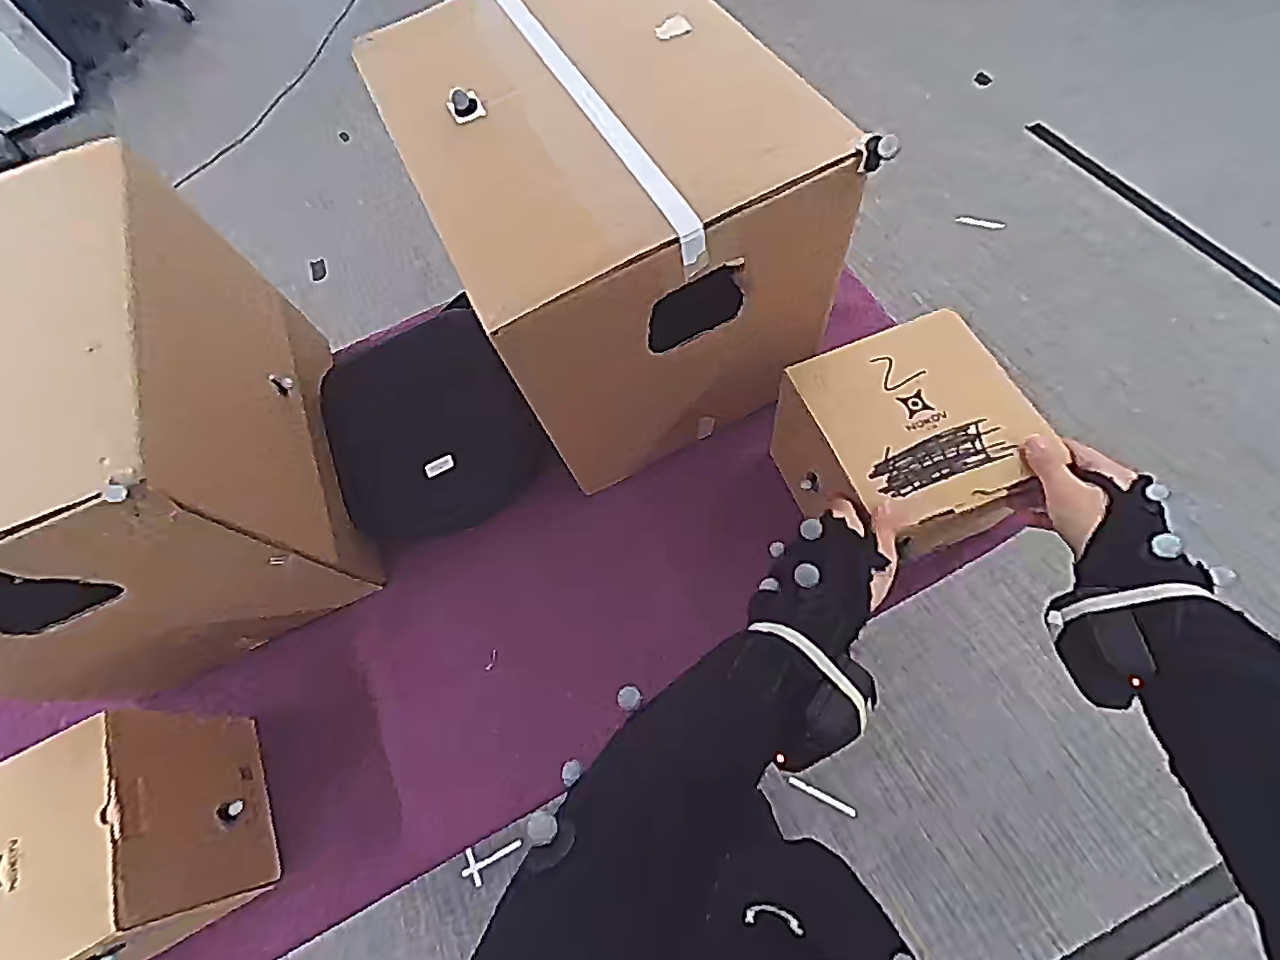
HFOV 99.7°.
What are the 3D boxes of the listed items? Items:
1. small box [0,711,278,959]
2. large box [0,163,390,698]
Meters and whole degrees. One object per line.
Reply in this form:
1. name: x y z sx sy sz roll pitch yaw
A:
1. small box: -0.470 0.330 0.477 0.179 0.176 0.168 -28 64 -9
2. large box: -0.530 -0.029 0.574 0.320 0.320 0.408 -26 68 -3
